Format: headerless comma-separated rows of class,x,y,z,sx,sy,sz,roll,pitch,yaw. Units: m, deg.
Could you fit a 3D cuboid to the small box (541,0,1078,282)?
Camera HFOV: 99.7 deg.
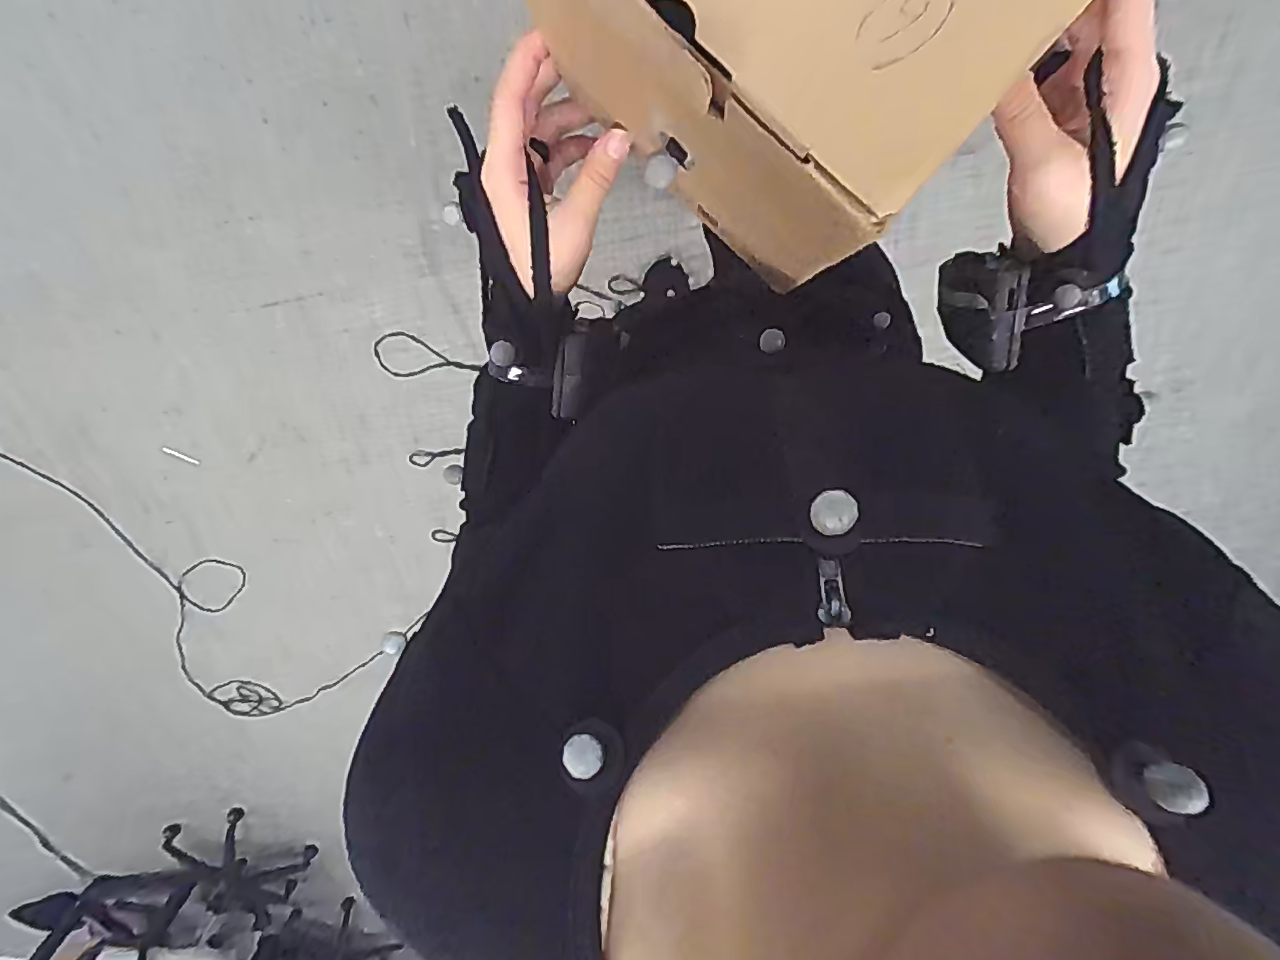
small box,0.074,-0.208,0.224,0.168,0.176,0.179,41,103,-4
